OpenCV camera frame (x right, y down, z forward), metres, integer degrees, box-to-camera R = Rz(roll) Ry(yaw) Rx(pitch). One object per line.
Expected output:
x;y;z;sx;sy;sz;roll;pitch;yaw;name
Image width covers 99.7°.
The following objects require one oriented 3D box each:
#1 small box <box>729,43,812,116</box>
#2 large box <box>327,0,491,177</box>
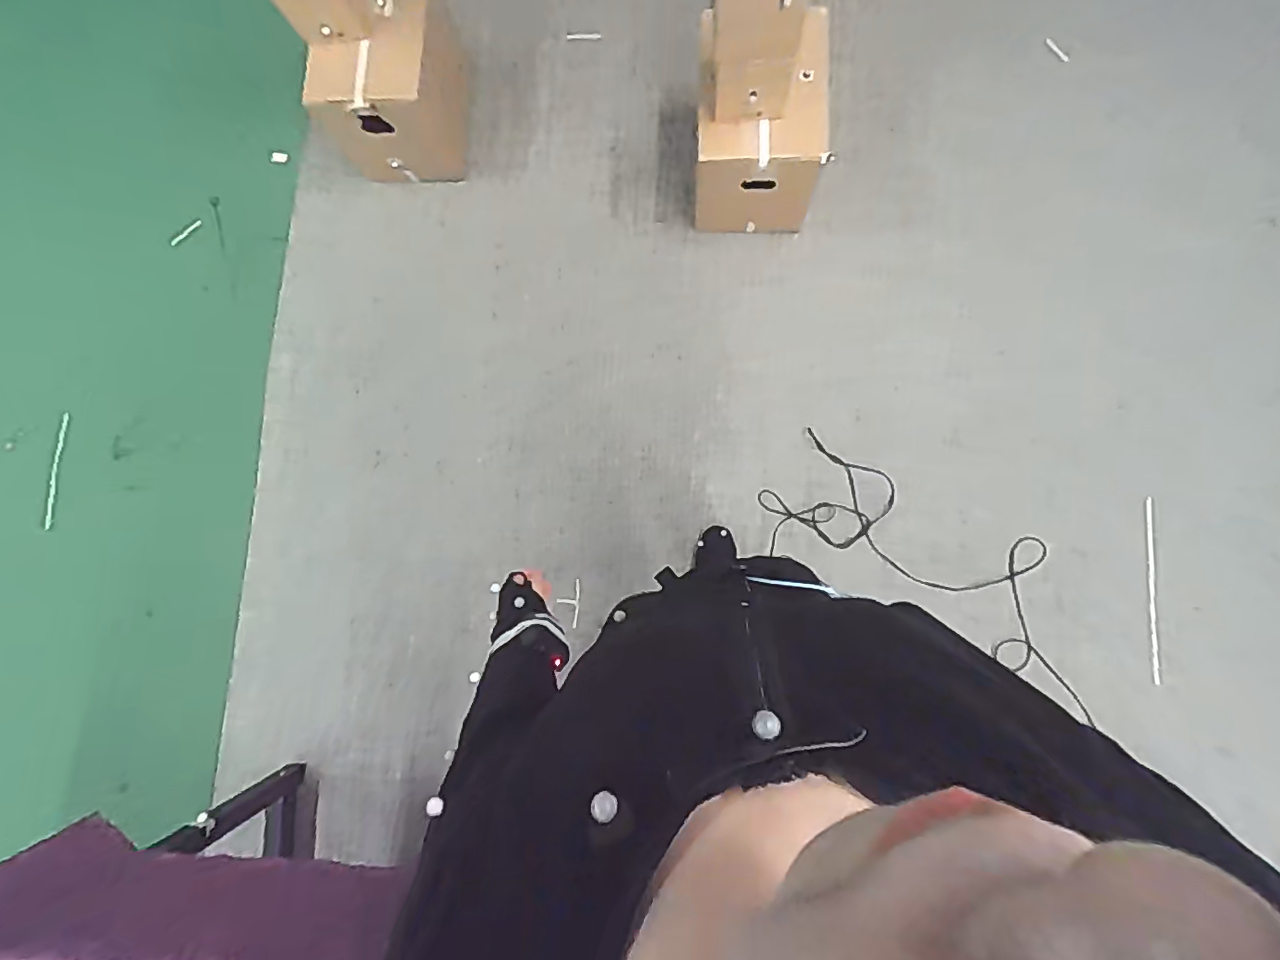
0.292;-0.964;1.229;0.168;0.176;0.179;-1;84;6;small box
-0.646;-1.165;1.570;0.320;0.320;0.408;3;83;6;large box
